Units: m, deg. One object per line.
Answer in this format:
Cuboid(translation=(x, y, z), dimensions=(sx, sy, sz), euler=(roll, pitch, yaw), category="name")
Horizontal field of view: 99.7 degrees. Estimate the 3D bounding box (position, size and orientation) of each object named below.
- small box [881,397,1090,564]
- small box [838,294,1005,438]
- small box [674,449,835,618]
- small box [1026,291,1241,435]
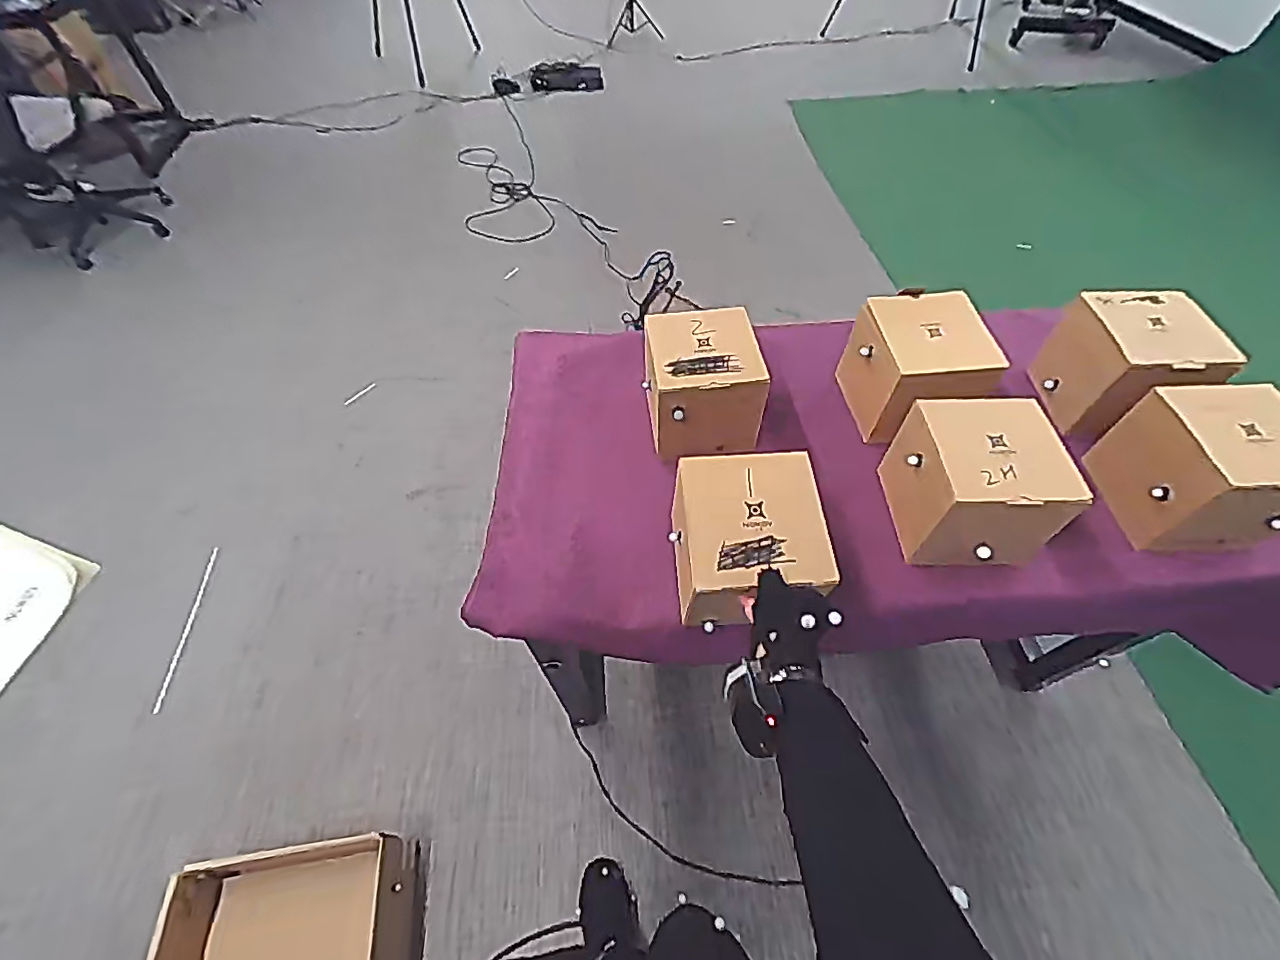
Cuboid(translation=(0.465, 0.002, 0.767), dimensions=(0.168, 0.176, 0.179), euler=(0, 54, 2), category="small box")
Cuboid(translation=(0.452, -0.182, 0.902), dimensions=(0.168, 0.176, 0.179), euler=(-5, 54, -2), category="small box")
Cuboid(translation=(0.135, 0.079, 0.712), dimensions=(0.168, 0.176, 0.179), euler=(-2, 60, -2), category="small box")
Cuboid(translation=(0.793, -0.189, 0.895), dimensions=(0.168, 0.176, 0.179), euler=(1, 55, 2), category="small box")
